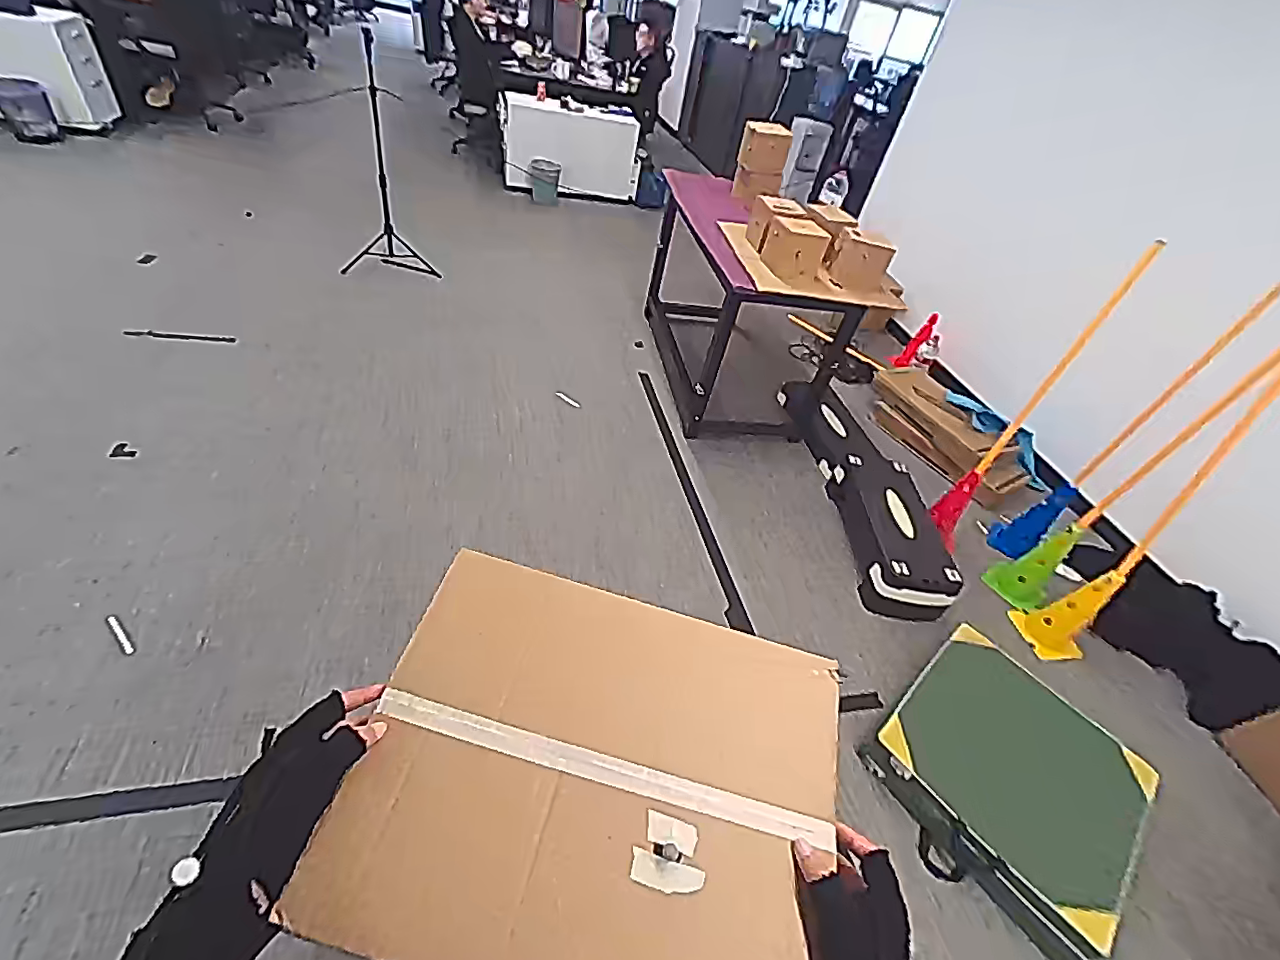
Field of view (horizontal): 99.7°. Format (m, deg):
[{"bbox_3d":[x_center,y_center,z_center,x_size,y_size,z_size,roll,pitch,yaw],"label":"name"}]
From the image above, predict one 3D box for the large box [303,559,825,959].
[{"bbox_3d":[-0.053,0.338,0.606,0.408,0.320,0.320,17,54,1],"label":"large box"}]
